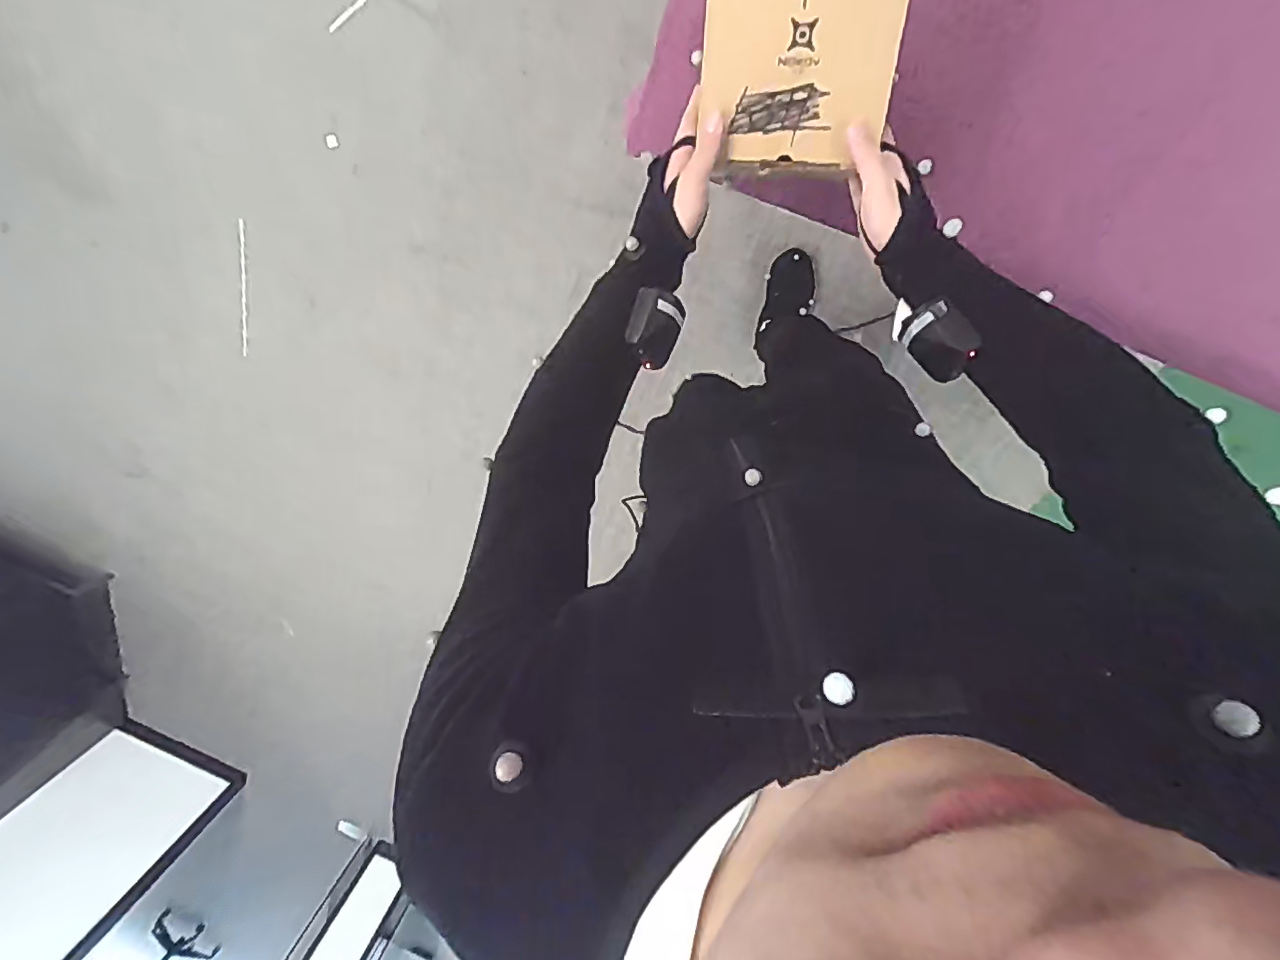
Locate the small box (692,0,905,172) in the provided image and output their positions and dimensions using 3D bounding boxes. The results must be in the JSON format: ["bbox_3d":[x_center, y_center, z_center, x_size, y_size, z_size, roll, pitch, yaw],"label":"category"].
[{"bbox_3d":[0.146,-0.410,0.531,0.168,0.176,0.179,6,115,6],"label":"small box"}]
